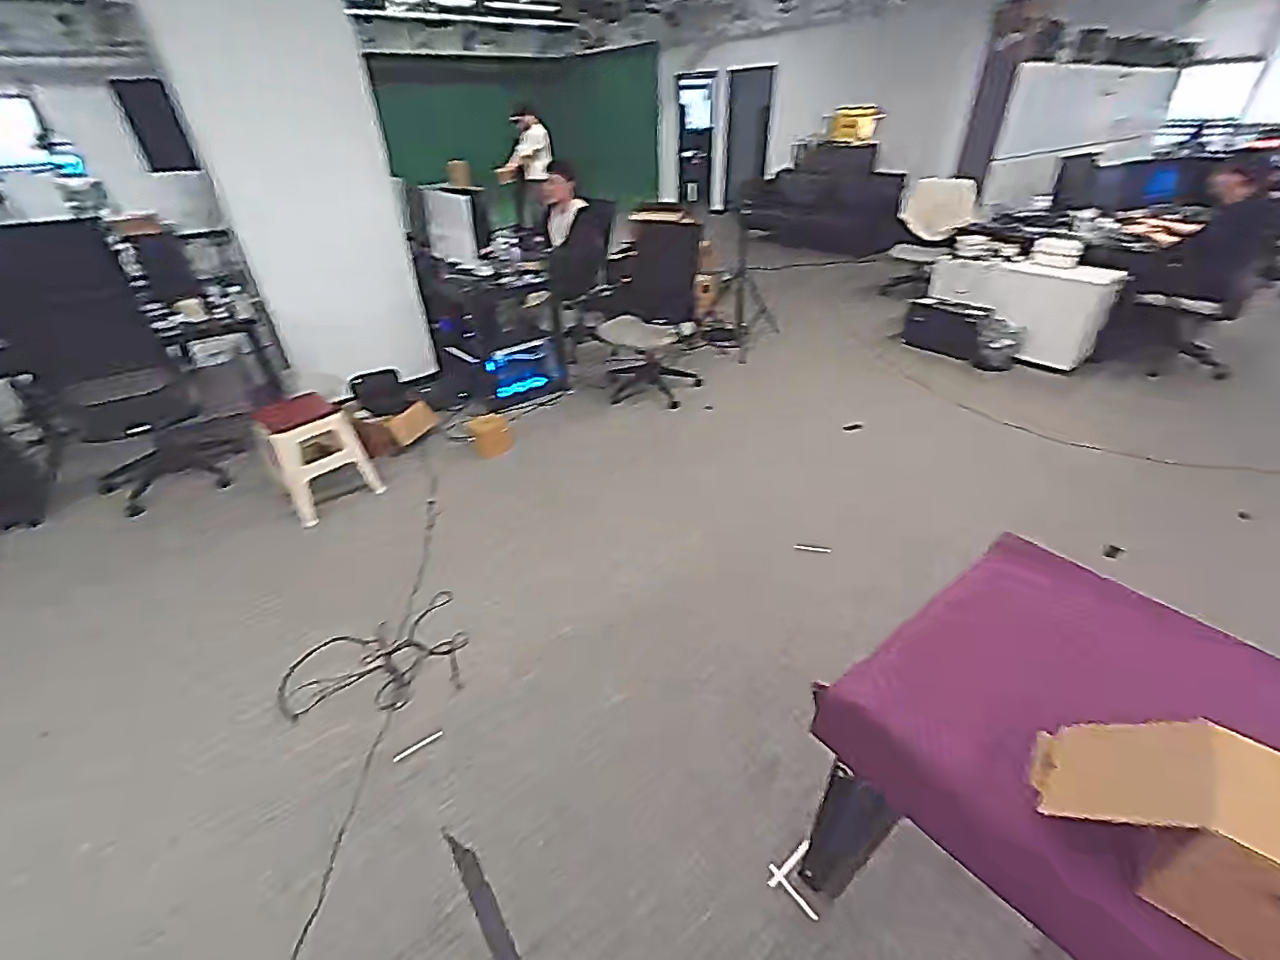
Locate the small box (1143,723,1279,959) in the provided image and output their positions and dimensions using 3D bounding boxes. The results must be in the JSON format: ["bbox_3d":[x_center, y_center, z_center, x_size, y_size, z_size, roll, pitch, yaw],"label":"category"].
[{"bbox_3d":[0.719,0.428,0.611,0.179,0.176,0.168,25,42,36],"label":"small box"}]
